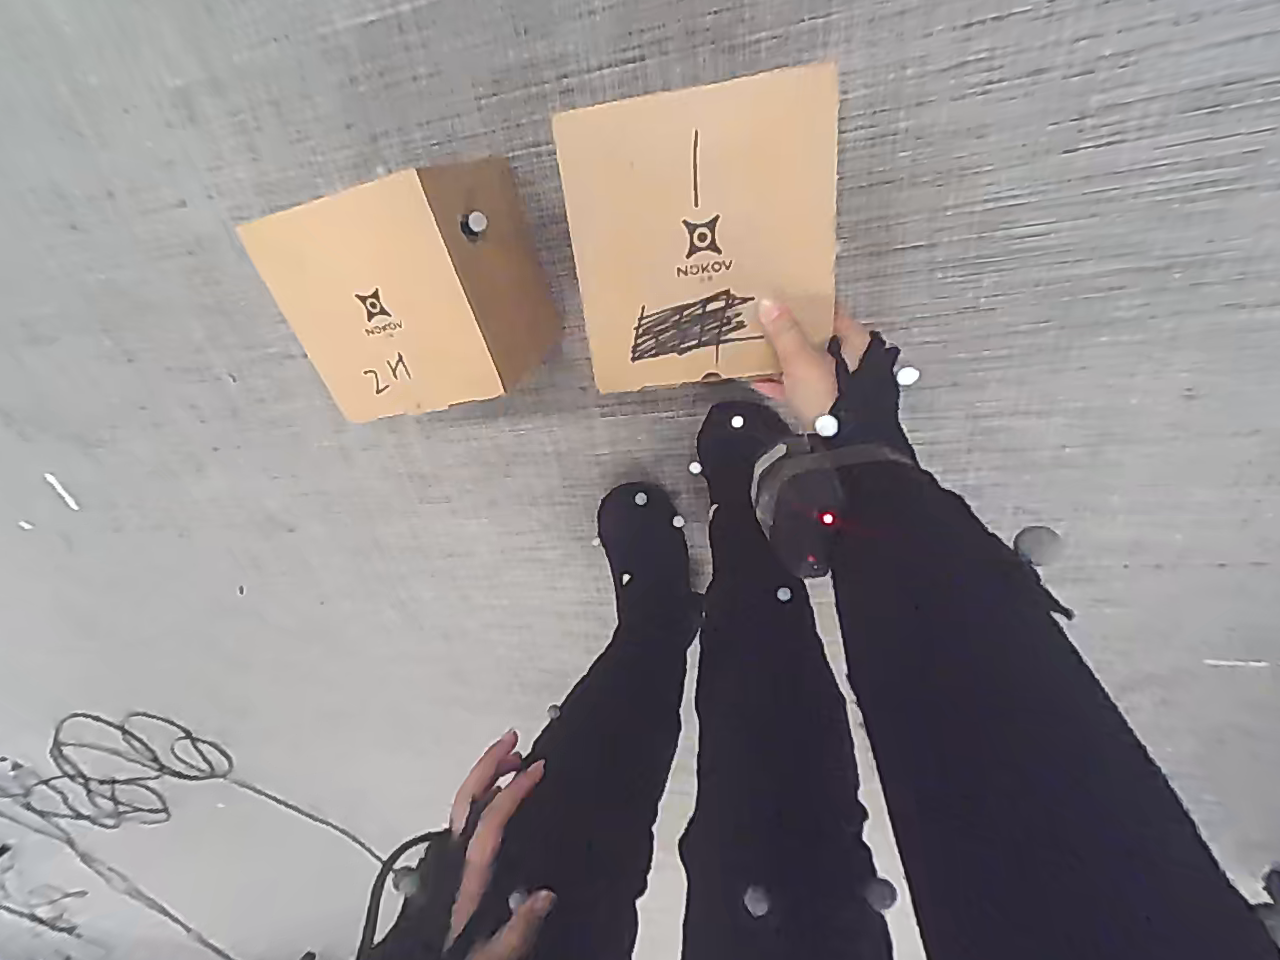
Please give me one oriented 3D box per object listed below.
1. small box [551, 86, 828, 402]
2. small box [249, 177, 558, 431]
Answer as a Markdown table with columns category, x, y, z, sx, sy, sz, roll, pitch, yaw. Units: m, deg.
| category | x | y | z | sx | sy | sz | roll | pitch | yaw |
| --- | --- | --- | --- | --- | --- | --- | --- | --- | --- |
| small box | 0.044 | -0.173 | 0.422 | 0.168 | 0.176 | 0.179 | -4 | 114 | 8 |
| small box | -0.197 | -0.170 | 0.509 | 0.168 | 0.176 | 0.179 | -8 | 120 | 16 |
